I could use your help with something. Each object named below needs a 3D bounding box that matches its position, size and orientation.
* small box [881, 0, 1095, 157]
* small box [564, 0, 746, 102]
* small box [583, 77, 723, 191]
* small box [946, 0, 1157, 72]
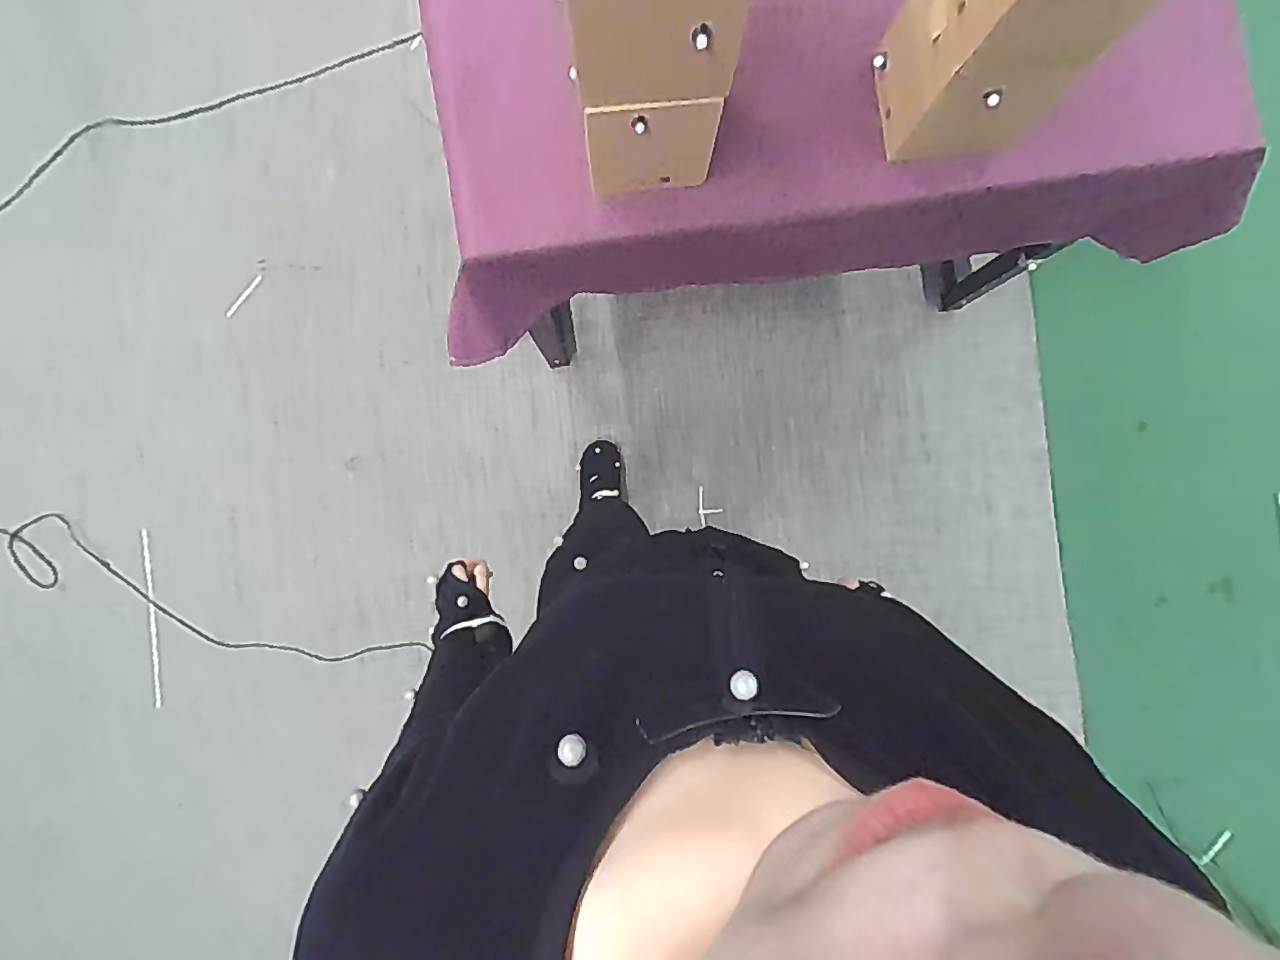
[{"bbox_3d":[0.441,-0.561,0.719,0.179,0.176,0.168,-6,88,-2],"label":"small box"},{"bbox_3d":[0.011,-0.522,0.547,0.179,0.176,0.168,-4,88,-1],"label":"small box"},{"bbox_3d":[0.008,-0.515,0.710,0.168,0.176,0.179,-5,87,-1],"label":"small box"},{"bbox_3d":[0.447,-0.567,0.556,0.179,0.176,0.168,-7,89,0],"label":"small box"}]
